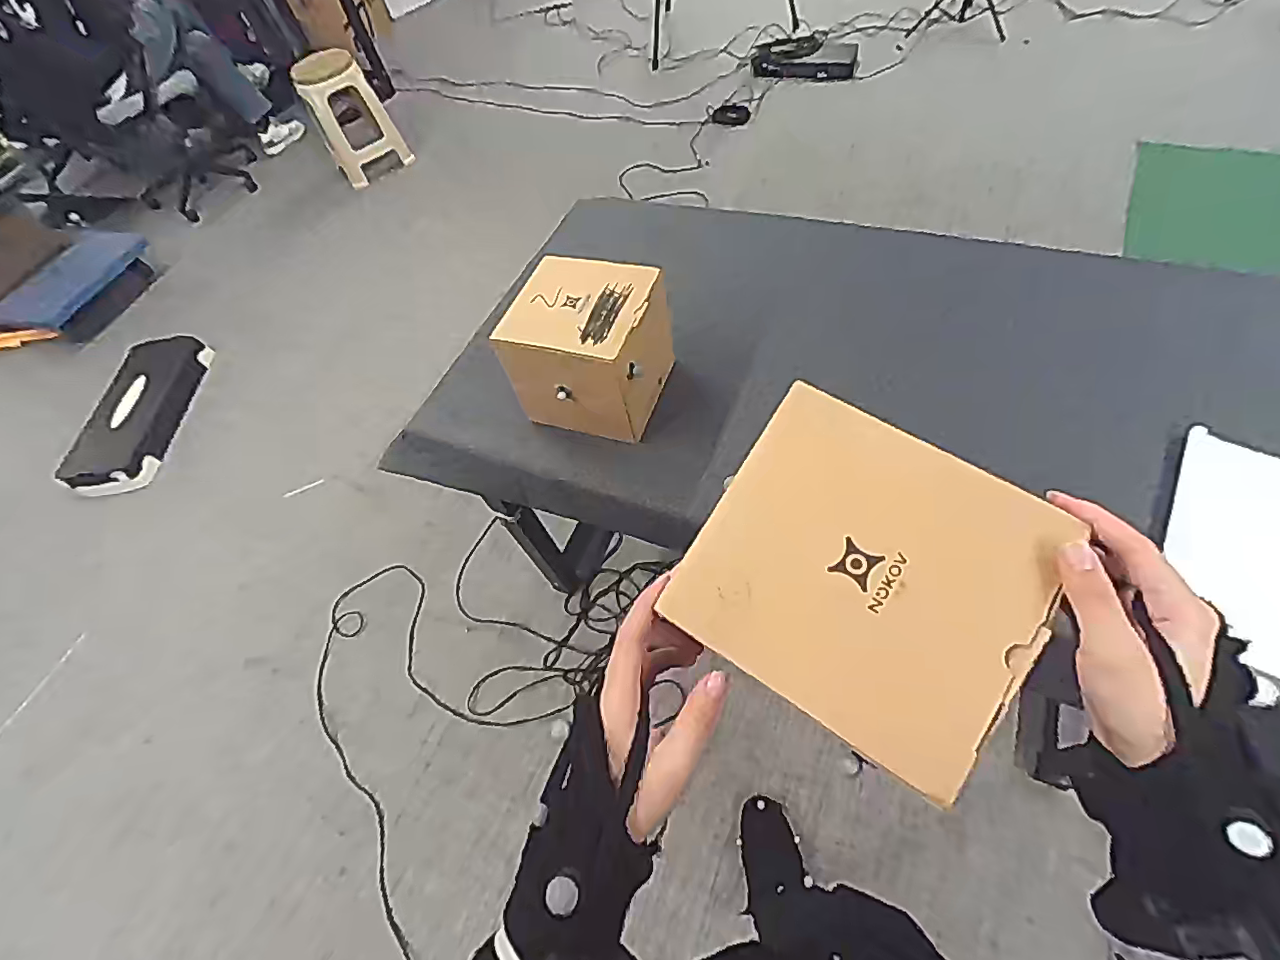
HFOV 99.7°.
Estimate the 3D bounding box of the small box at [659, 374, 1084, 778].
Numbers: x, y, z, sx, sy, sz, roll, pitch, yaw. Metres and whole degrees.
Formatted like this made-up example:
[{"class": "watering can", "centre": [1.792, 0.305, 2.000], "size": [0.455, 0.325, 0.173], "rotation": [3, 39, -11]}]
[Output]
[{"class": "small box", "centre": [0.136, 0.063, 0.377], "size": [0.179, 0.176, 0.168], "rotation": [31, 81, 16]}]
